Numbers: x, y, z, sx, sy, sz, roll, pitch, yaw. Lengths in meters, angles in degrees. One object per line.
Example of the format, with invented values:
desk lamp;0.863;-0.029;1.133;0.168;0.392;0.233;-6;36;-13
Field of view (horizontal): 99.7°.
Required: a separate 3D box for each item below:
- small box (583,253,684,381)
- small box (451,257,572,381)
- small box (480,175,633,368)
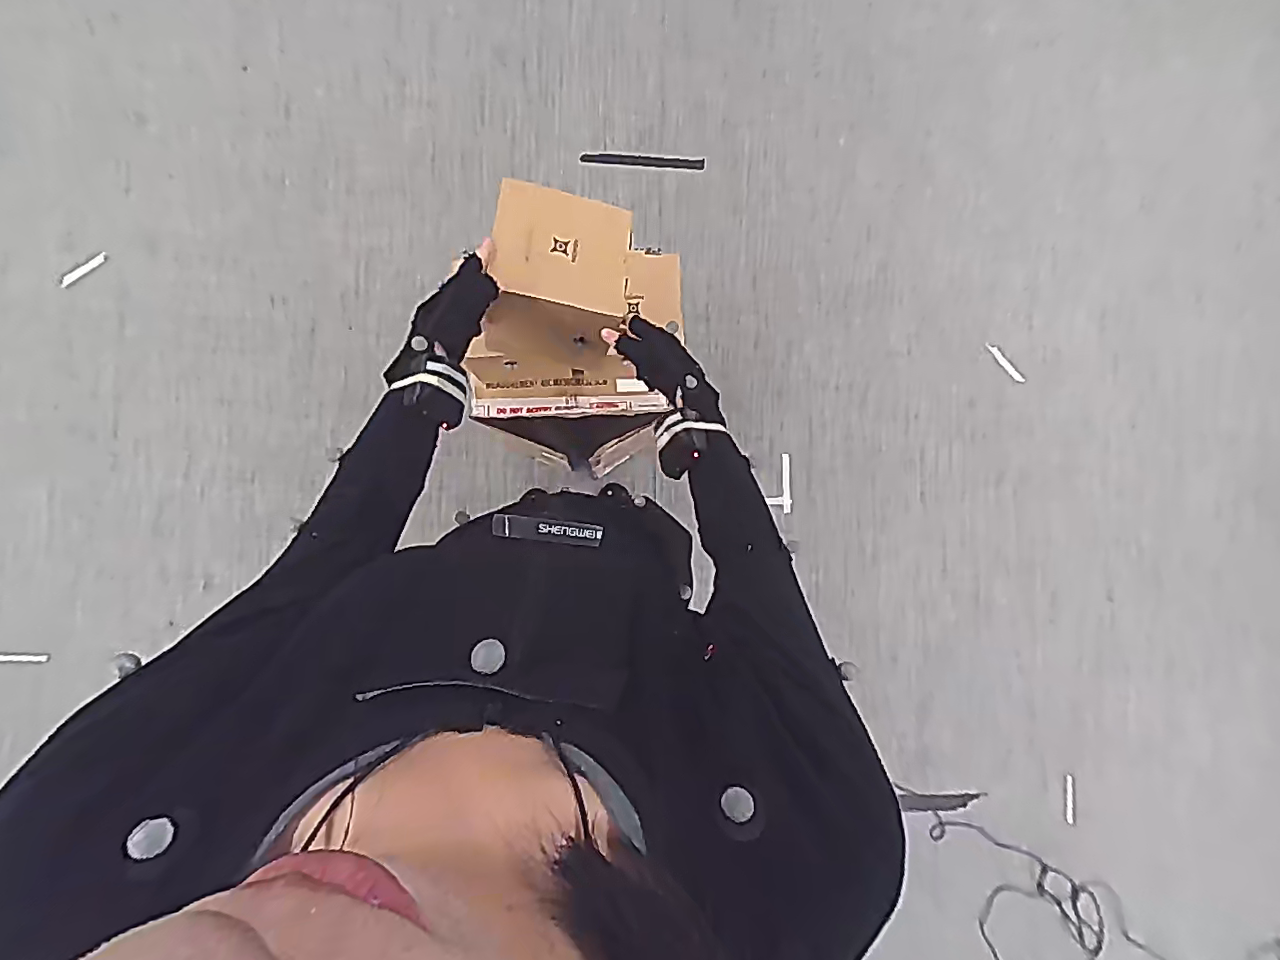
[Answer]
small box;-0.021;-0.287;0.974;0.168;0.176;0.179;-2;86;-7
small box;-0.218;-0.276;0.953;0.179;0.176;0.168;-5;87;-5
small box;-0.120;-0.273;0.749;0.179;0.176;0.168;8;74;-13
